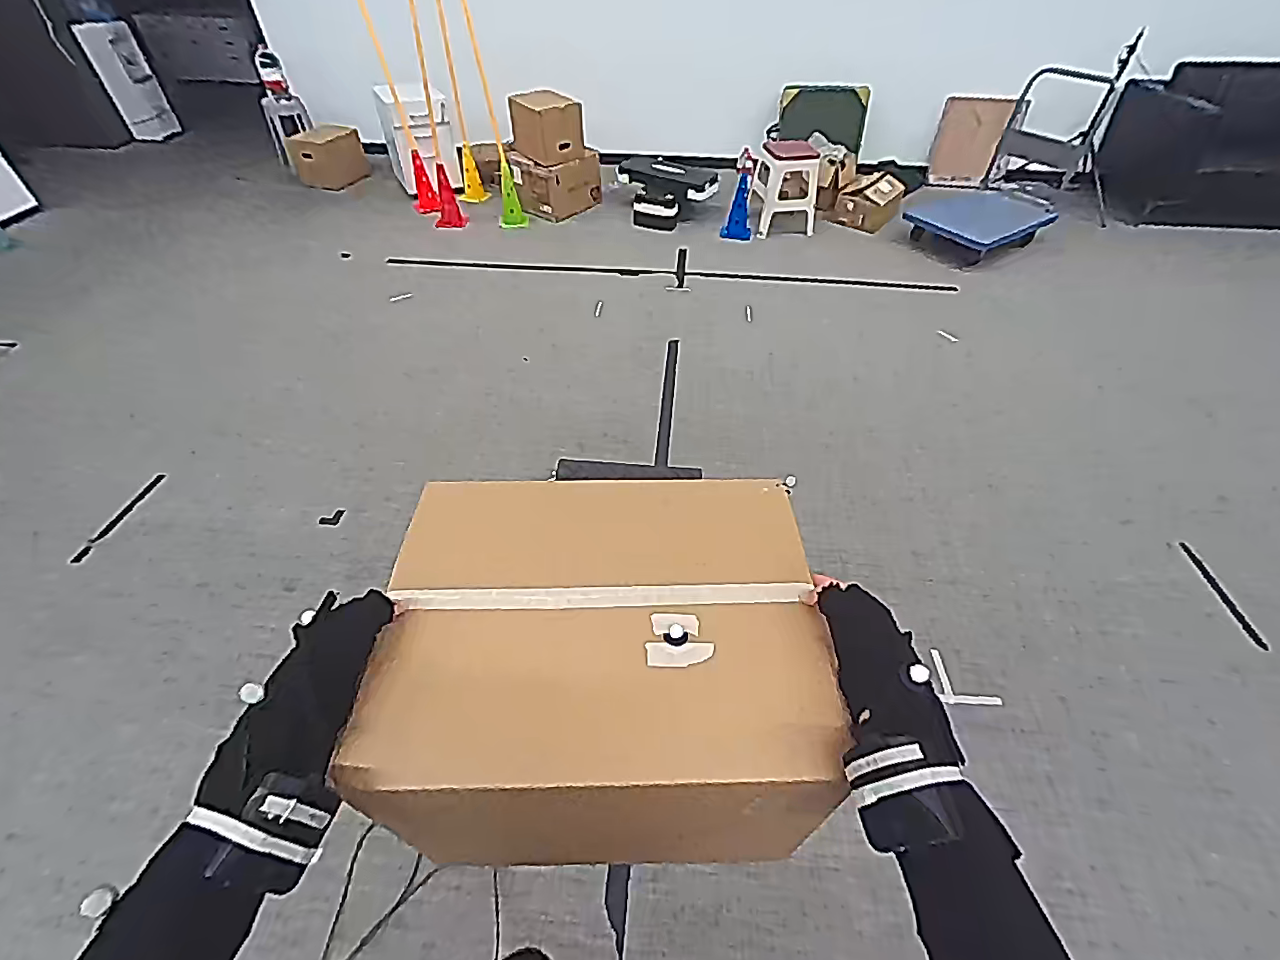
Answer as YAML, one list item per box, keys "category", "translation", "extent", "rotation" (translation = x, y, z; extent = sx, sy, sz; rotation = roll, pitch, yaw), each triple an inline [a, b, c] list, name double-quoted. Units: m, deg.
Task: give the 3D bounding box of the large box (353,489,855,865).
- category: "large box"
  translation: [-0.032, 0.226, 0.629]
  extent: [0.408, 0.320, 0.320]
  rotation: [0, 46, -1]
